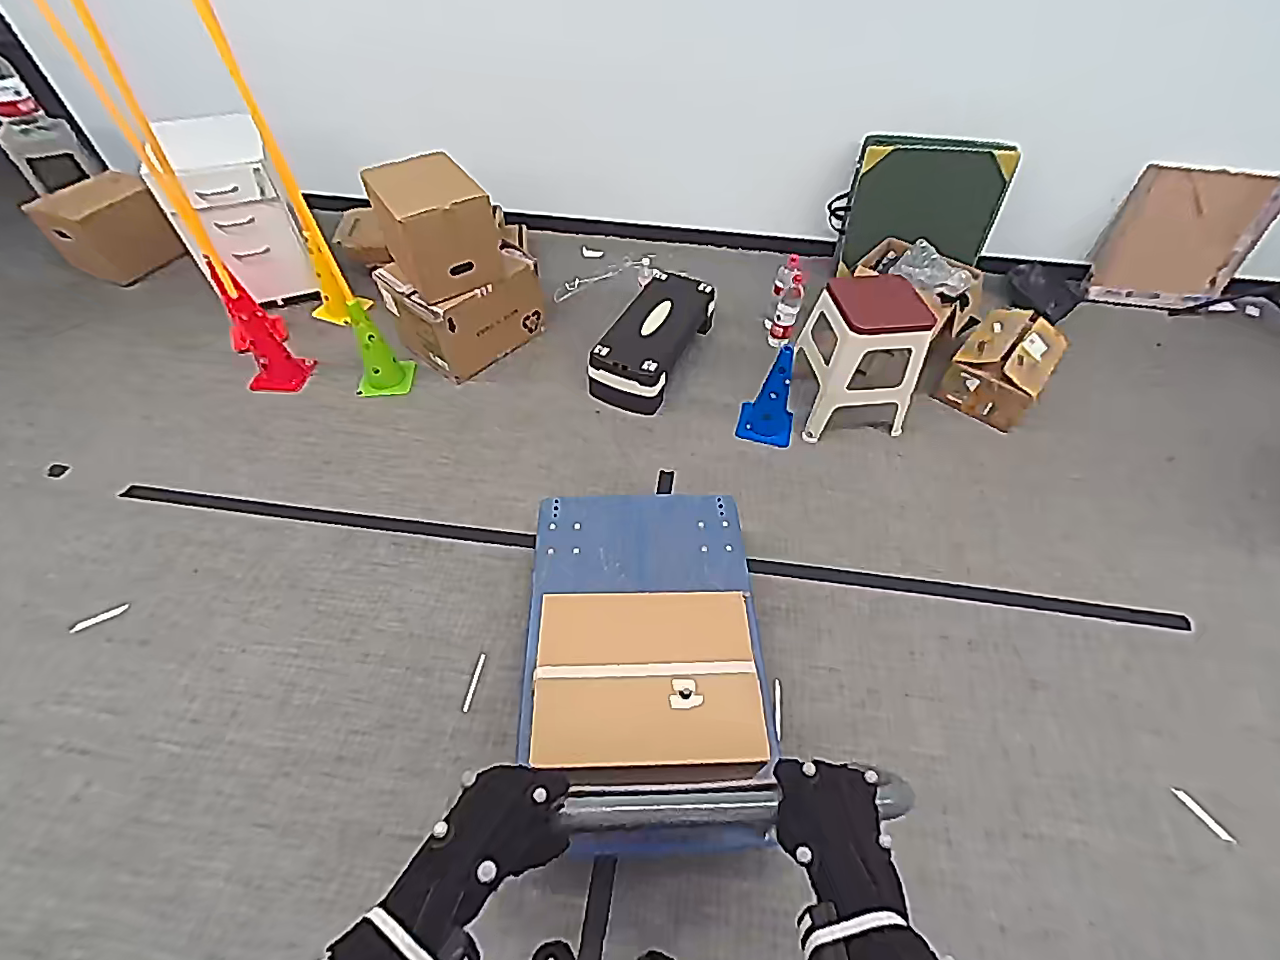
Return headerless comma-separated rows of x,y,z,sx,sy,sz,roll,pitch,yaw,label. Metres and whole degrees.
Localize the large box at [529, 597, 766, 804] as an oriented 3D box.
0.001,0.451,1.097,0.408,0.320,0.320,0,52,-3,large box
